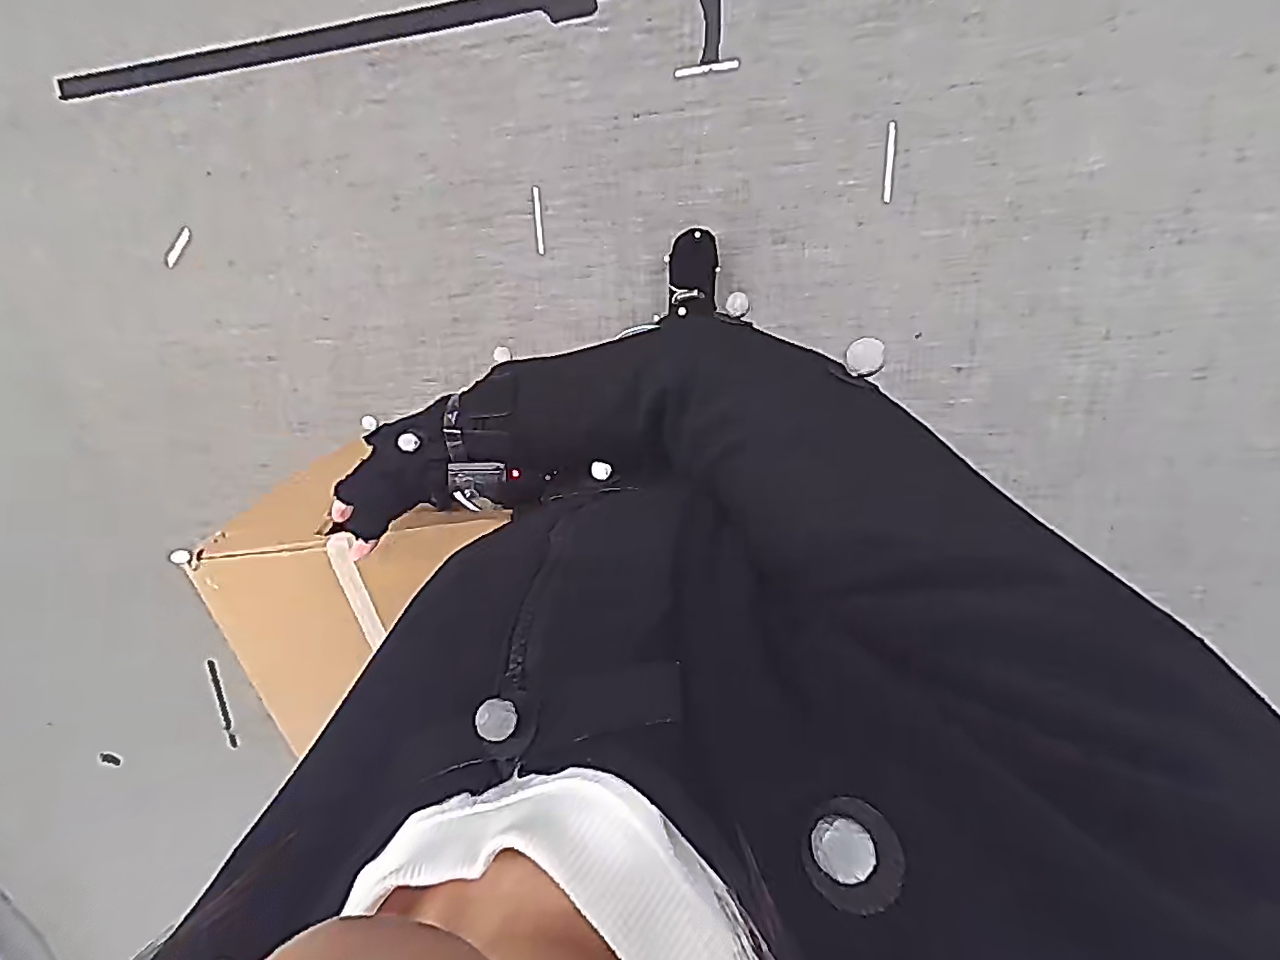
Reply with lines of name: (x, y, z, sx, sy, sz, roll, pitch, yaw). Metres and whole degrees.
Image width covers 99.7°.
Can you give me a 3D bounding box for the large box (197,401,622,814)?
large box: (-0.221, 0.149, 0.697, 0.320, 0.320, 0.408, -8, 113, 6)
